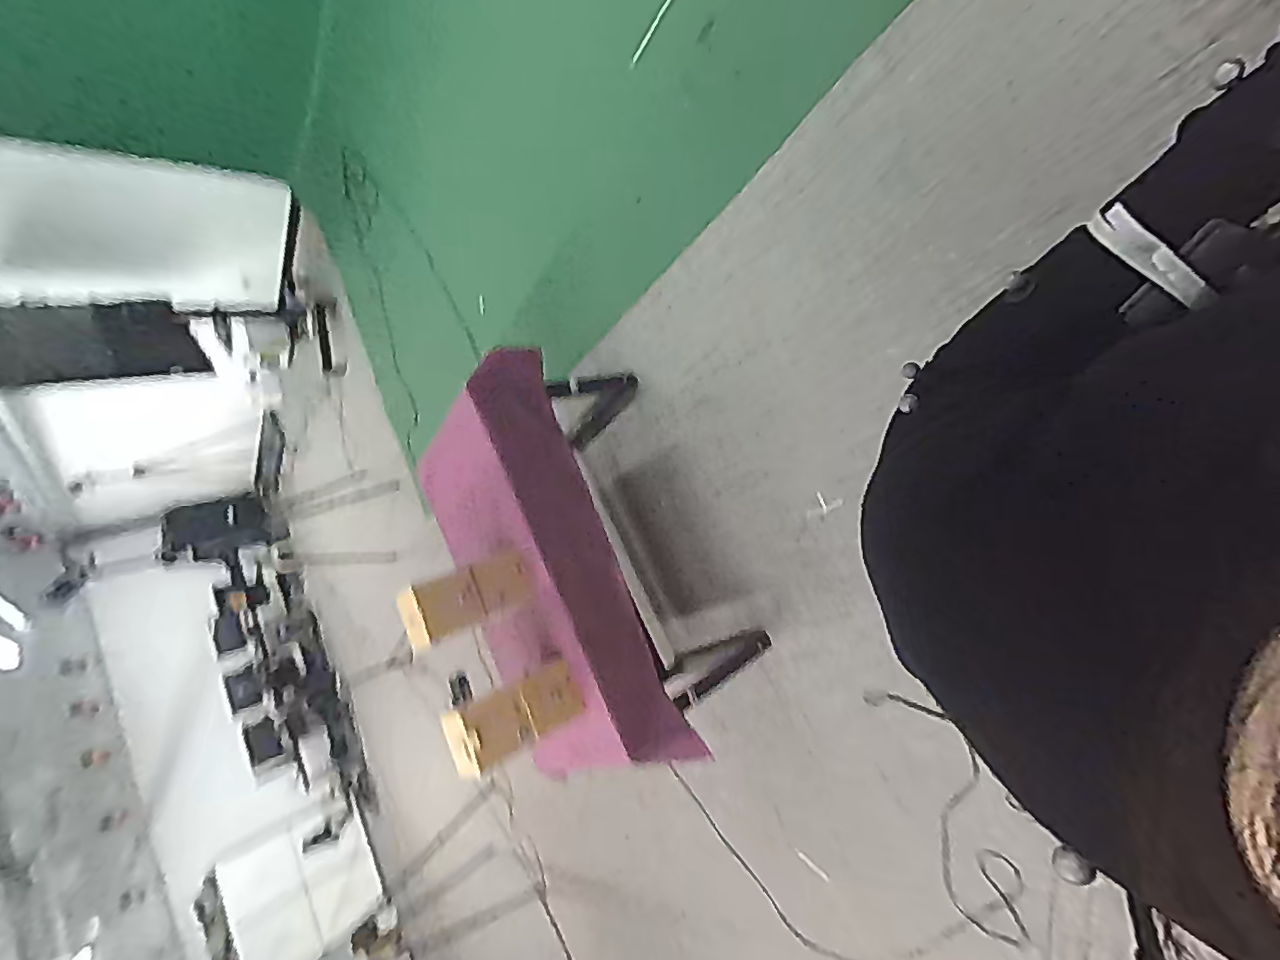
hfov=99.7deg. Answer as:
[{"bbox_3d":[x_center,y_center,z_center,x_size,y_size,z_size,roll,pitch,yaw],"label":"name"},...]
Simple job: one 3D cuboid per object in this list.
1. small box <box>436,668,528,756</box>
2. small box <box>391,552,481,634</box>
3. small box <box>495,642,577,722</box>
[{"bbox_3d":[-0.429,0.633,1.488,0.179,0.176,0.168,-31,80,48],"label":"small box"},{"bbox_3d":[-0.580,0.321,1.539,0.179,0.176,0.168,-30,82,47],"label":"small box"},{"bbox_3d":[-0.307,0.595,1.593,0.179,0.176,0.168,-33,78,46],"label":"small box"}]
